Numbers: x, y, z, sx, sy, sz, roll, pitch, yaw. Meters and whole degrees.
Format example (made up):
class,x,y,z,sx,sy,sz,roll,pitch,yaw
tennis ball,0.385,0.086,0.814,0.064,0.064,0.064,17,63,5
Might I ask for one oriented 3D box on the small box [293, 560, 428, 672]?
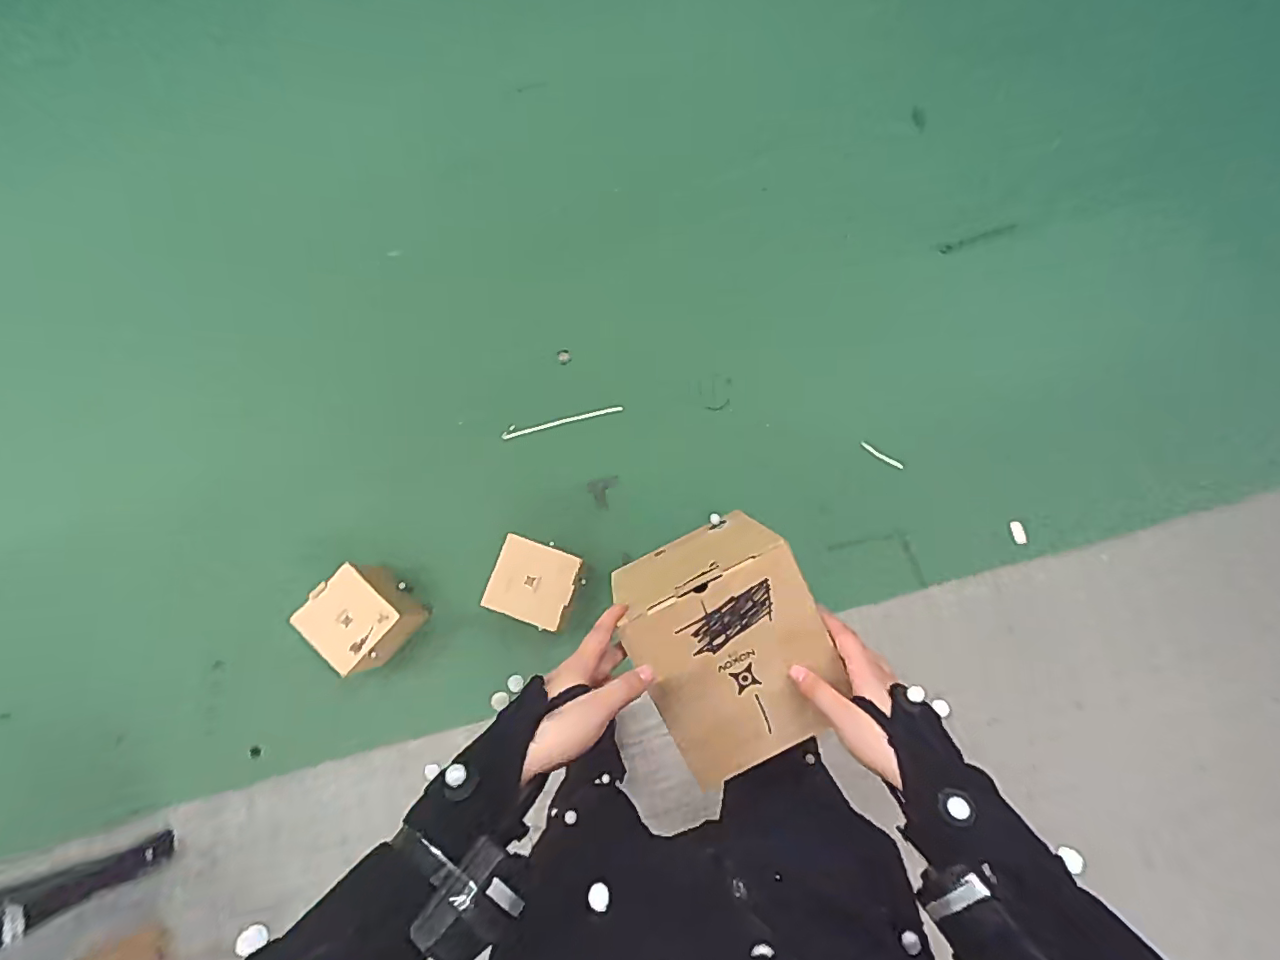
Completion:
class,x,y,z,sx,sy,sz,roll,pitch,yaw
small box,-0.618,0.303,1.216,0.179,0.176,0.168,42,81,9

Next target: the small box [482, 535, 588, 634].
class,x,y,z,sx,sy,sz,roll,pitch,yaw
small box,-0.227,0.238,1.229,0.179,0.176,0.168,19,78,5

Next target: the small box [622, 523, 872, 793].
class,x,y,z,sx,sy,sz,roll,pitch,yaw
small box,0.090,0.156,0.546,0.168,0.176,0.179,-27,98,-1
